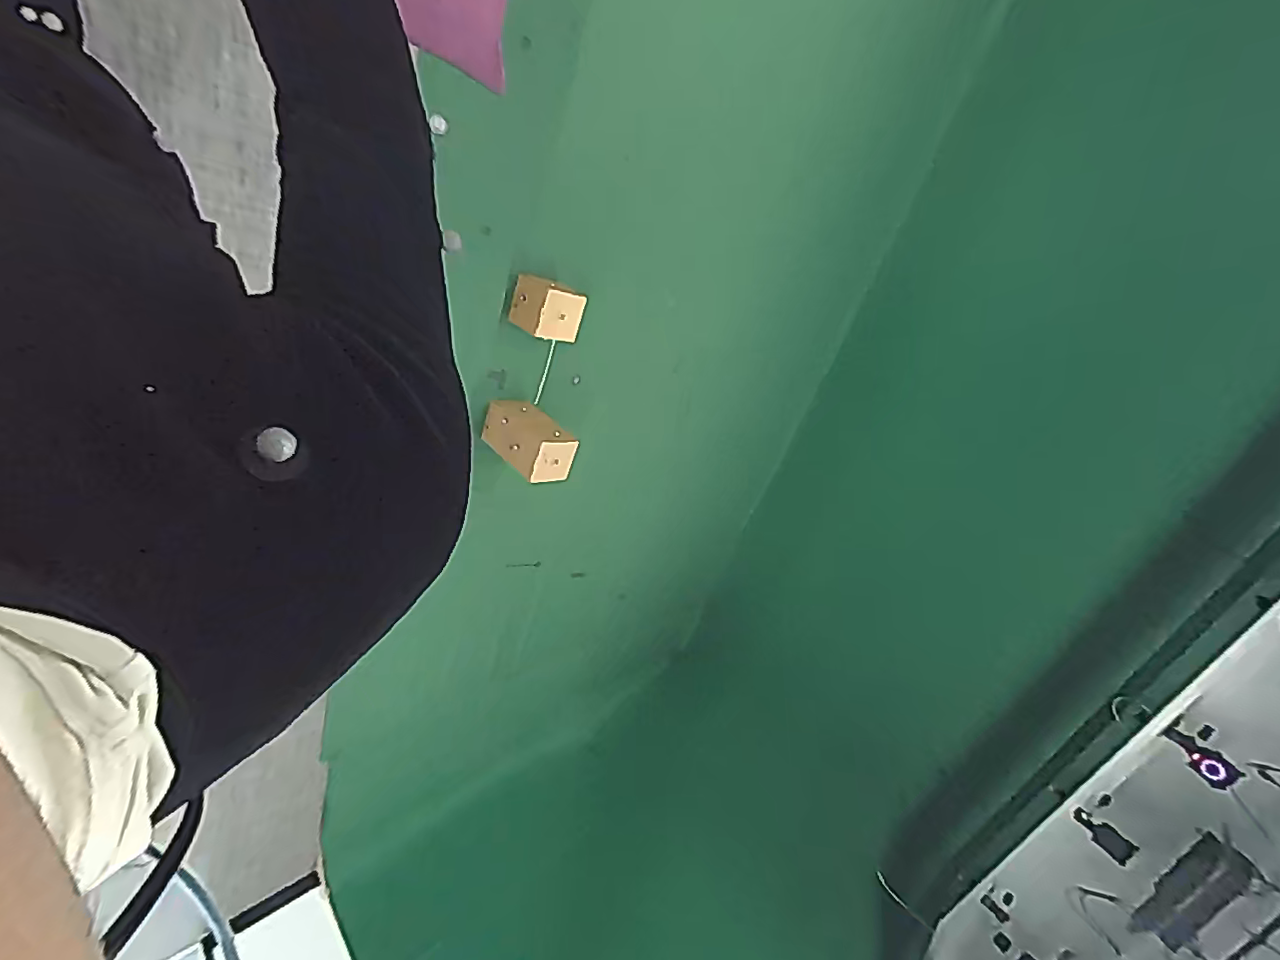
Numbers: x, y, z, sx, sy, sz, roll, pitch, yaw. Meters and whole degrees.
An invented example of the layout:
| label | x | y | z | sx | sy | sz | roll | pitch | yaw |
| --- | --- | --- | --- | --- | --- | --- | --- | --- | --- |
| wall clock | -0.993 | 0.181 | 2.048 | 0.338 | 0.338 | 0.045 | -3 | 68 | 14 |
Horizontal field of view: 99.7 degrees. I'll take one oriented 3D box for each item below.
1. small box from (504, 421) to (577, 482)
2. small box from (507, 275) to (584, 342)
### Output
| label | x | y | z | sx | sy | sz | roll | pitch | yaw |
| --- | --- | --- | --- | --- | --- | --- | --- | --- | --- |
| small box | -0.369 | -0.111 | 1.997 | 0.179 | 0.176 | 0.168 | -6 | 125 | -49 |
| small box | -0.332 | -0.600 | 1.890 | 0.179 | 0.176 | 0.168 | -7 | 126 | -48 |
